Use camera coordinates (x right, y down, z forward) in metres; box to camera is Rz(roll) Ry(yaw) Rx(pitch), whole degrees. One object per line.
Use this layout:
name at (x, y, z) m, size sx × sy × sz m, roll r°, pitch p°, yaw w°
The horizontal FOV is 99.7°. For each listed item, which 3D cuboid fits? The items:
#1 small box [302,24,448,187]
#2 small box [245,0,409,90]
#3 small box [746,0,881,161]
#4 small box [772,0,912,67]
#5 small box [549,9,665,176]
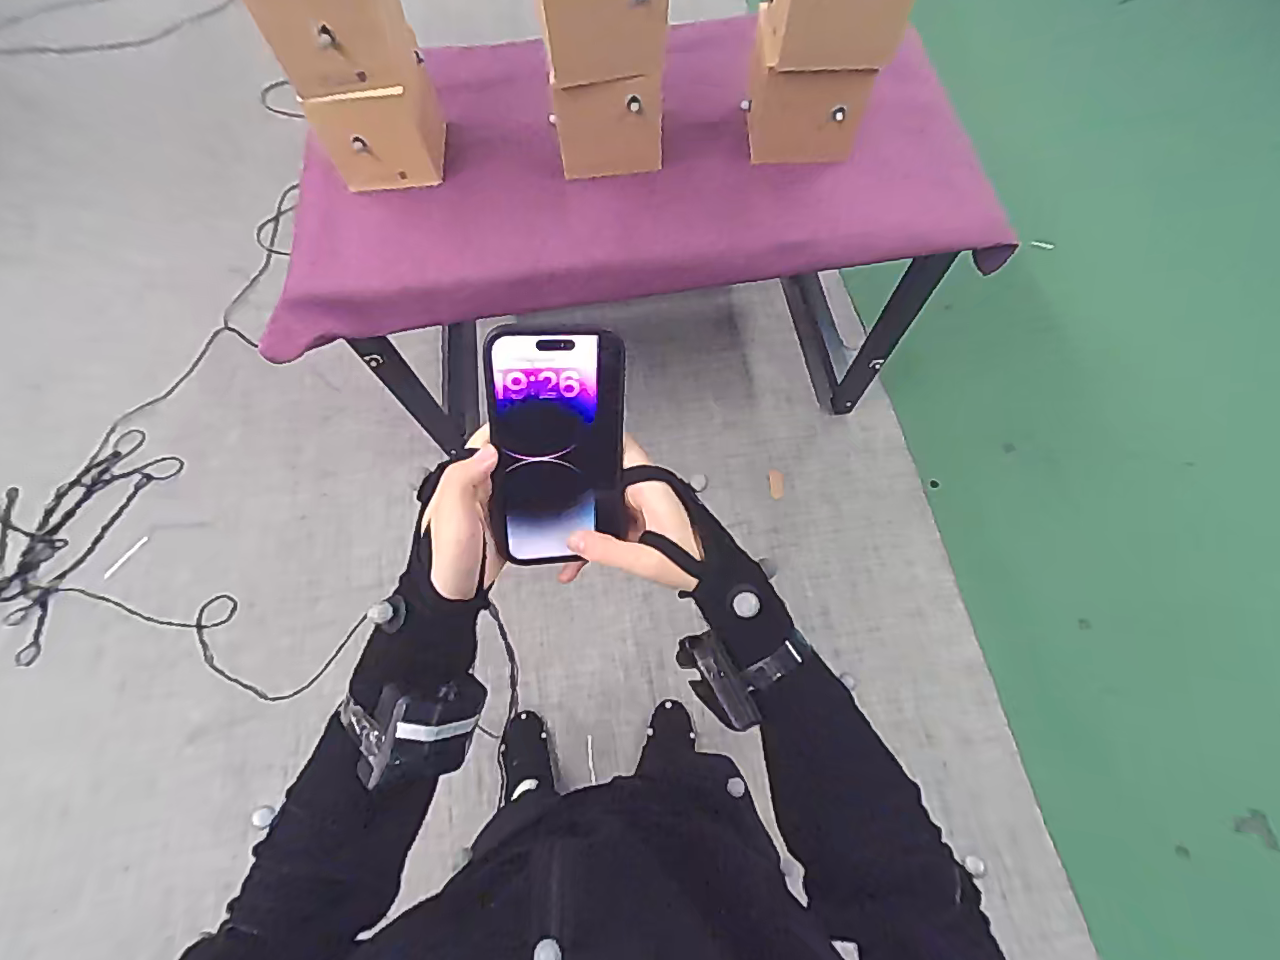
small box at (-0.444, -0.635, 0.935) m, size 0.168 × 0.176 × 0.179 m, roll -6°, pitch 68°, yaw 0°
small box at (-0.450, -0.702, 0.785) m, size 0.168 × 0.176 × 0.179 m, roll -10°, pitch 69°, yaw -3°
small box at (0.286, -0.679, 0.929) m, size 0.179 × 0.176 × 0.168 m, roll 0°, pitch 68°, yaw 2°
small box at (0.291, -0.726, 0.771) m, size 0.179 × 0.176 × 0.168 m, roll 0°, pitch 68°, yaw 1°
small box at (-0.054, -0.657, 0.929) m, size 0.179 × 0.176 × 0.168 m, roll -6°, pitch 68°, yaw 0°
